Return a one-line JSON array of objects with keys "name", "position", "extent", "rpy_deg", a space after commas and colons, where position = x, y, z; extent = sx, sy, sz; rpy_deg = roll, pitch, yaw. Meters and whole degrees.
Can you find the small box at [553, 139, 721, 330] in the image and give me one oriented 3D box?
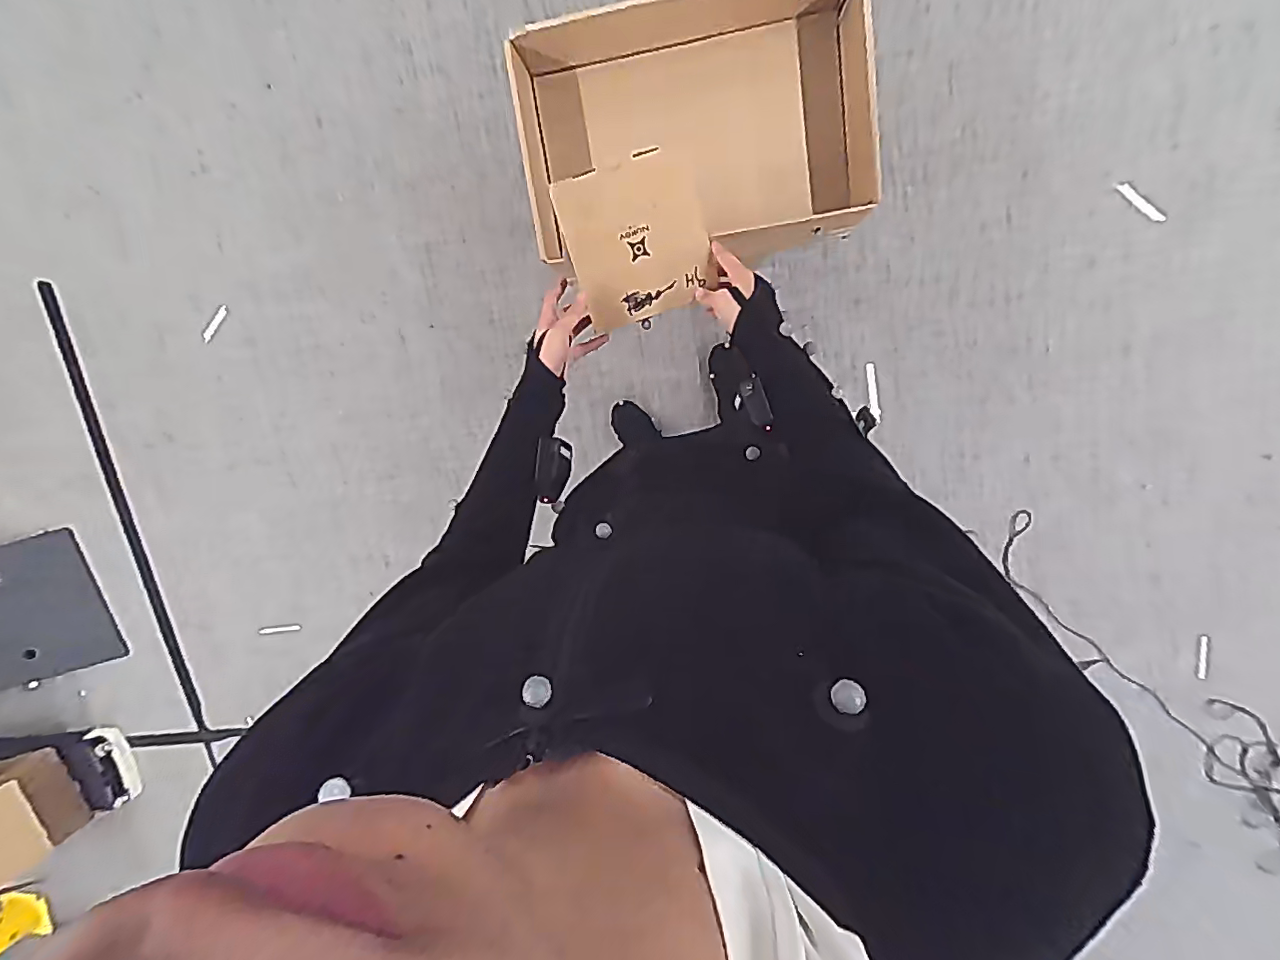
[{"name": "small box", "position": [-0.004, -0.311, 0.718], "extent": [0.168, 0.176, 0.179], "rpy_deg": [-17, 109, 4]}]
